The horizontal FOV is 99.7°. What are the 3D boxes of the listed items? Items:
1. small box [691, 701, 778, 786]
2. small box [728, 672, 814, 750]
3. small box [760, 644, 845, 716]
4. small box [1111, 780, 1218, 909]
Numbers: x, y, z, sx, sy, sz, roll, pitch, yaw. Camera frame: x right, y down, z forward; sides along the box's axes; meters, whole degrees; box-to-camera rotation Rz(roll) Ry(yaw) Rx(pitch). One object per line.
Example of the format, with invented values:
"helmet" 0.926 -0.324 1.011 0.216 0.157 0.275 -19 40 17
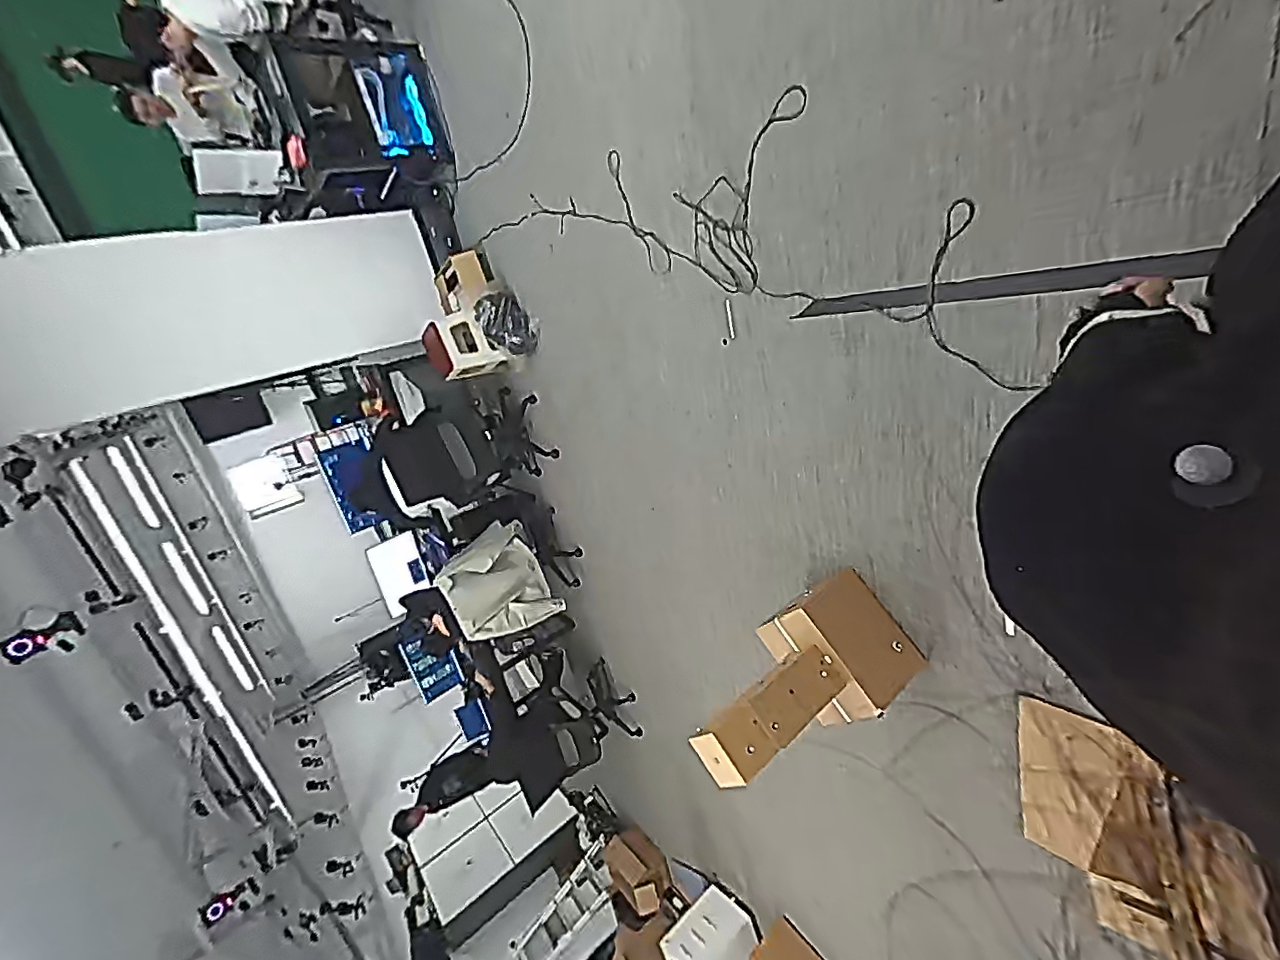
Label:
"small box" 0.293 0.799 1.645 0.168 0.176 0.179 54 147 16
"small box" 0.419 0.743 1.731 0.168 0.176 0.179 54 148 15
"small box" 0.547 0.681 1.814 0.168 0.176 0.179 54 147 16
"small box" 1.344 0.921 1.384 0.168 0.176 0.179 -3 109 54
